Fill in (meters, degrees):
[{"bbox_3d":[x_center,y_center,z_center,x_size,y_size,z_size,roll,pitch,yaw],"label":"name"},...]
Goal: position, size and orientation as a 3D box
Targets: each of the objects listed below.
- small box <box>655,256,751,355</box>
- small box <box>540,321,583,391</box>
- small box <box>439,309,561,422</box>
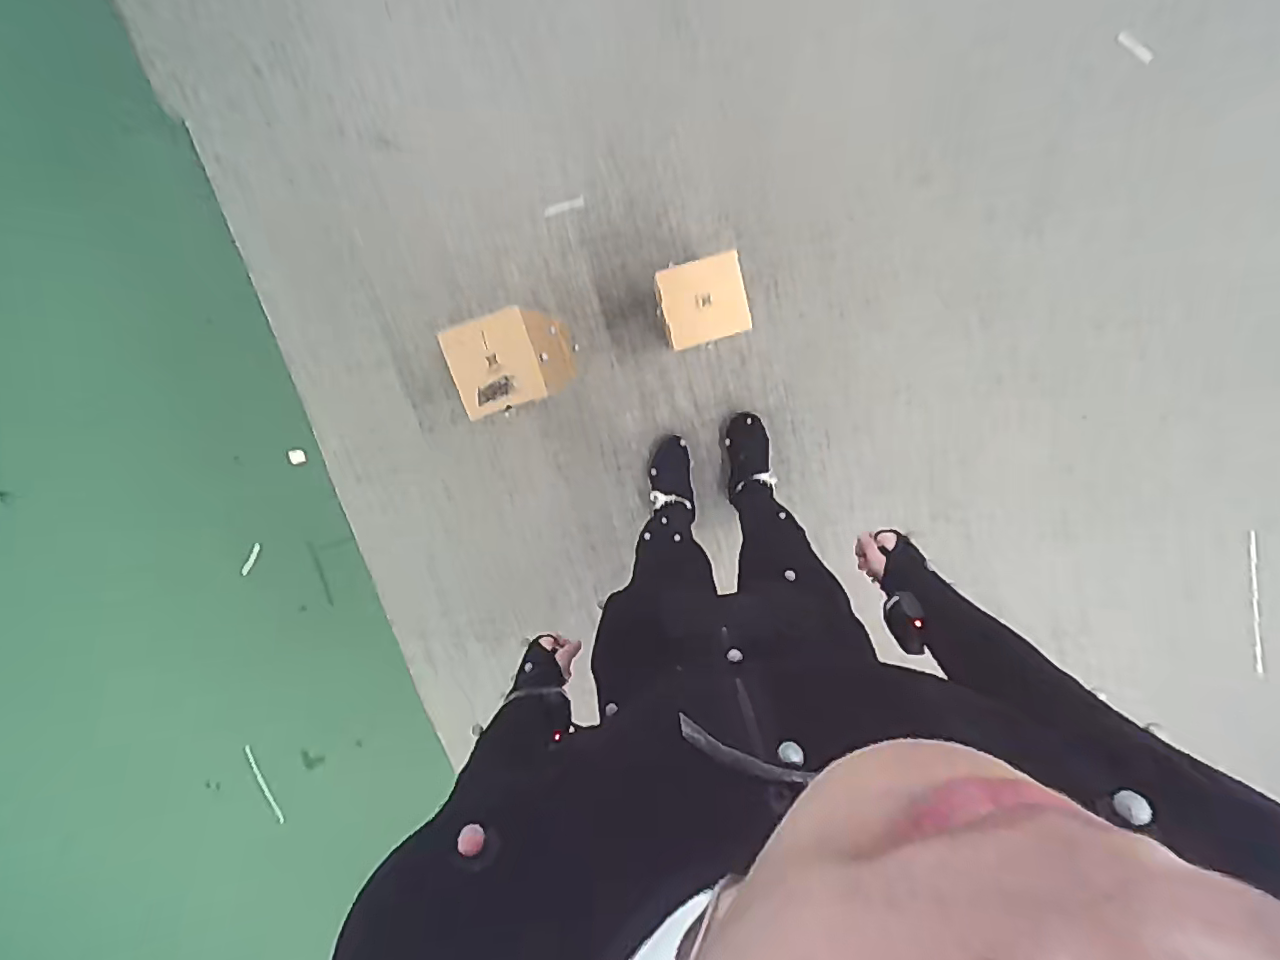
[{"bbox_3d":[0.136,-0.385,1.218,0.179,0.176,0.168,-15,101,6],"label":"small box"},{"bbox_3d":[-0.262,-0.306,1.414,0.179,0.176,0.168,-15,101,5],"label":"small box"},{"bbox_3d":[-0.272,-0.229,1.095,0.168,0.176,0.179,-17,100,5],"label":"small box"}]
